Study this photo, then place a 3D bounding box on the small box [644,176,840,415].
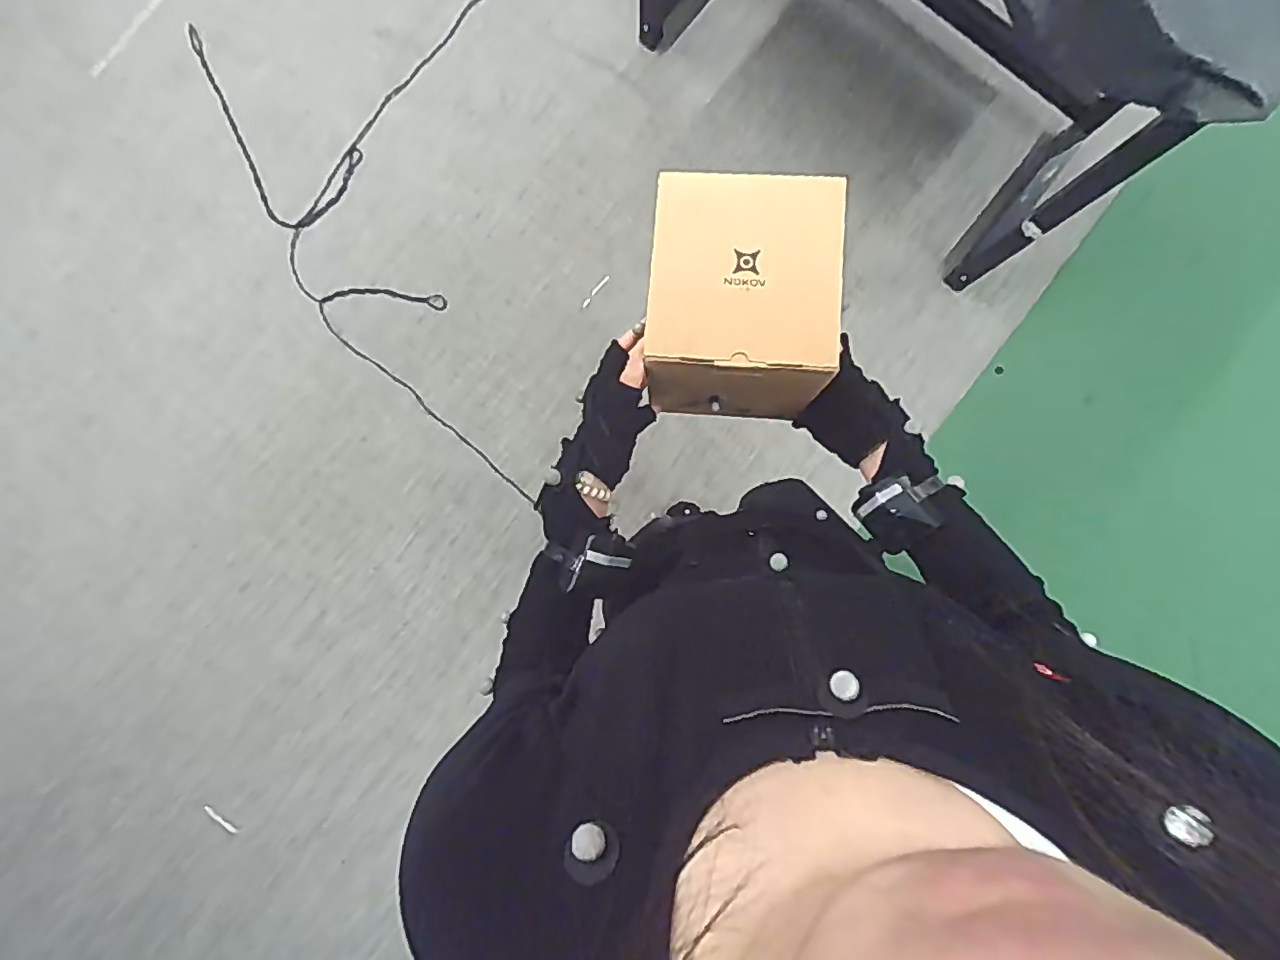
[{"bbox_3d":[0.095,-0.176,0.558,0.168,0.176,0.179,4,84,4],"label":"small box"}]
